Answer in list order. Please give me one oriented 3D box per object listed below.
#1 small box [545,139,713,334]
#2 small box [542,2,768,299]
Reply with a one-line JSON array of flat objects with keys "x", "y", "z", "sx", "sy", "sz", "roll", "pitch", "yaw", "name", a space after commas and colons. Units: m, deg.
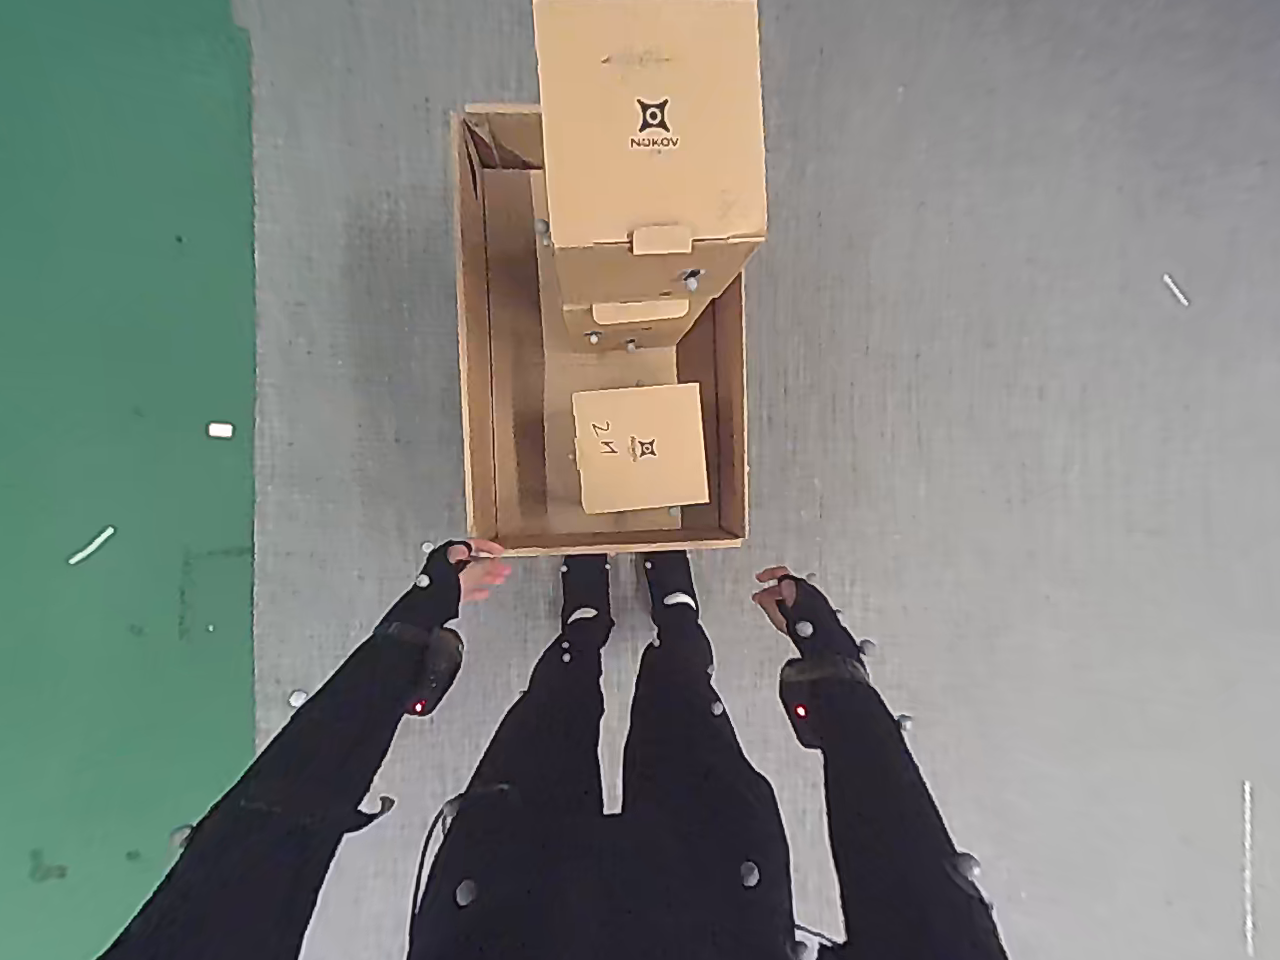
[{"x": -0.014, "y": -0.276, "z": 0.641, "sx": 0.168, "sy": 0.176, "sz": 0.179, "roll": -7, "pitch": 94, "yaw": -5, "name": "small box"}, {"x": 0.007, "y": -0.265, "z": 0.479, "sx": 0.168, "sy": 0.176, "sz": 0.179, "roll": -4, "pitch": 94, "yaw": -5, "name": "small box"}]
